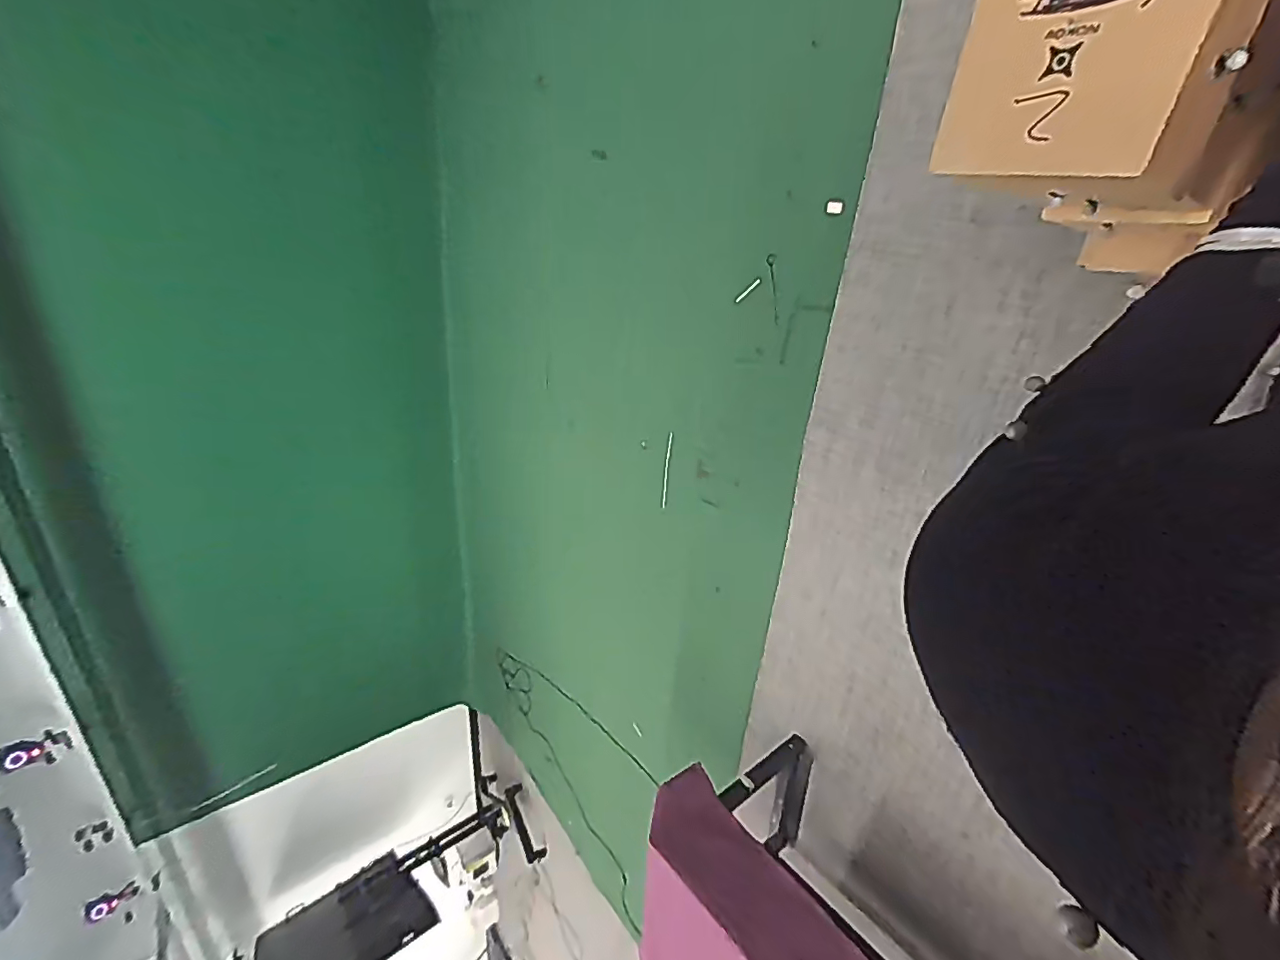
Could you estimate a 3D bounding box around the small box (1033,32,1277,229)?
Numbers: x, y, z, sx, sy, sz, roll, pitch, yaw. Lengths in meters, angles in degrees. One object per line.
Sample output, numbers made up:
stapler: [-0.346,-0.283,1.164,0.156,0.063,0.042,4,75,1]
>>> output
small box: [0.643,-0.419,0.679,0.168,0.176,0.179,30,124,42]
